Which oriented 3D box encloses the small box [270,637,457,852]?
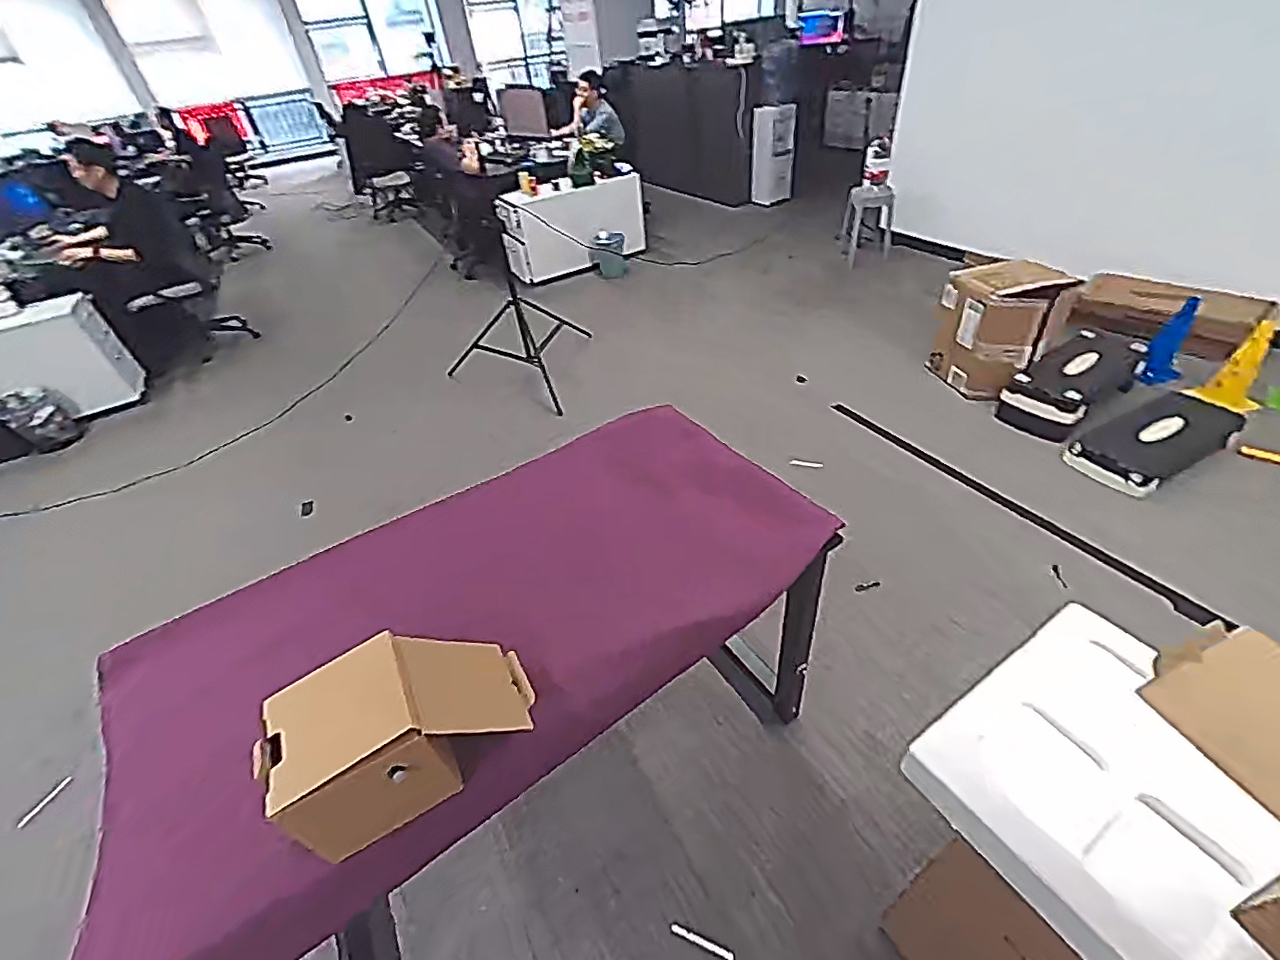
[{"bbox_3d":[-0.366,0.357,0.736,0.179,0.176,0.168,-24,43,-19],"label":"small box"}]
